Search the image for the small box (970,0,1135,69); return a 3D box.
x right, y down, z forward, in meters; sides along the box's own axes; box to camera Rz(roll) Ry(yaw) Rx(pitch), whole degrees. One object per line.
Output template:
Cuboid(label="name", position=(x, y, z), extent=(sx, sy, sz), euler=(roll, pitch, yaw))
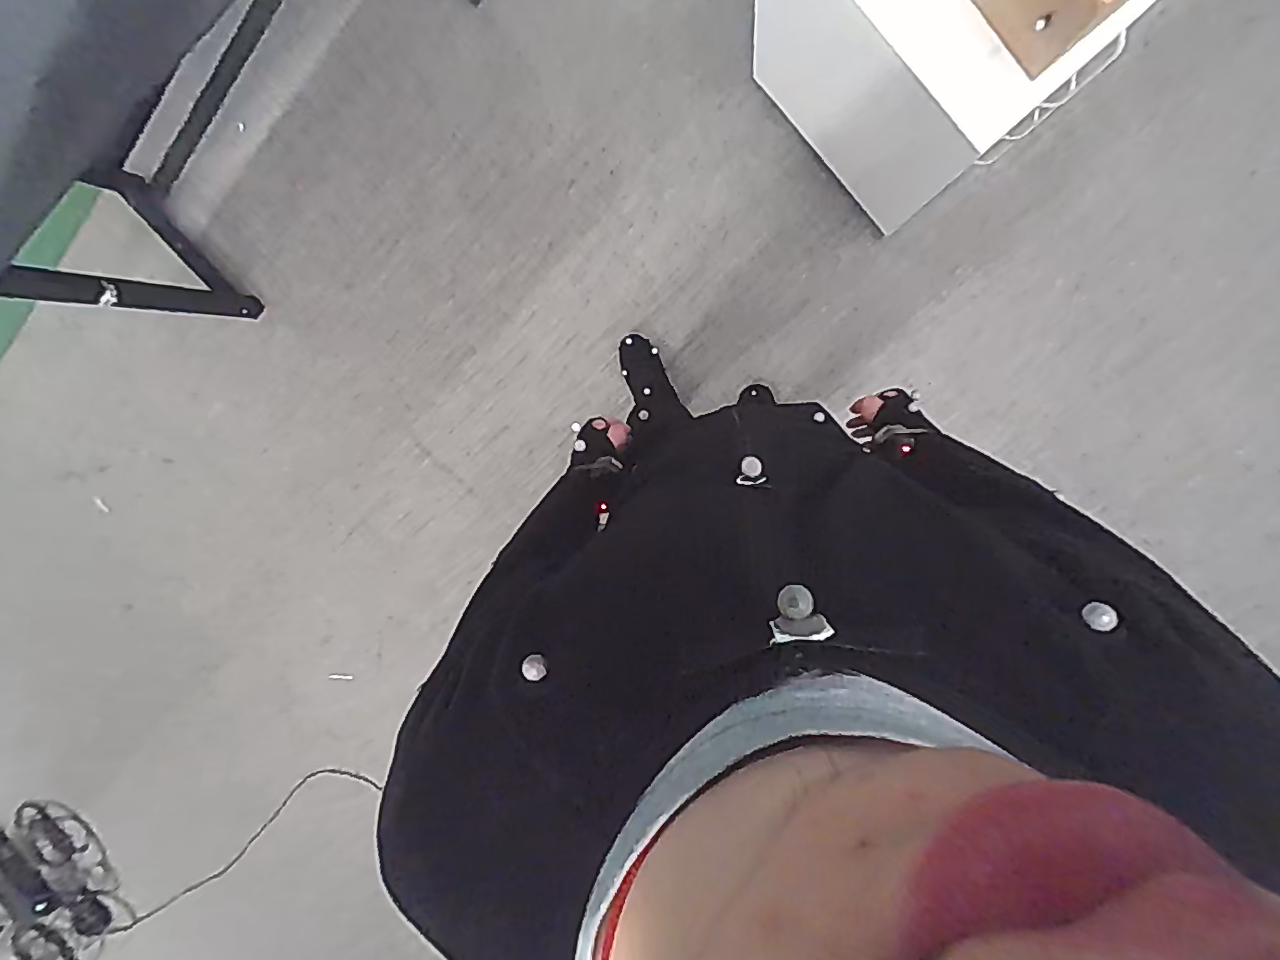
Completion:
Cuboid(label="small box", position=(0.542, -0.652, 0.655), extent=(0.168, 0.176, 0.179), euler=(-39, 91, 15))
